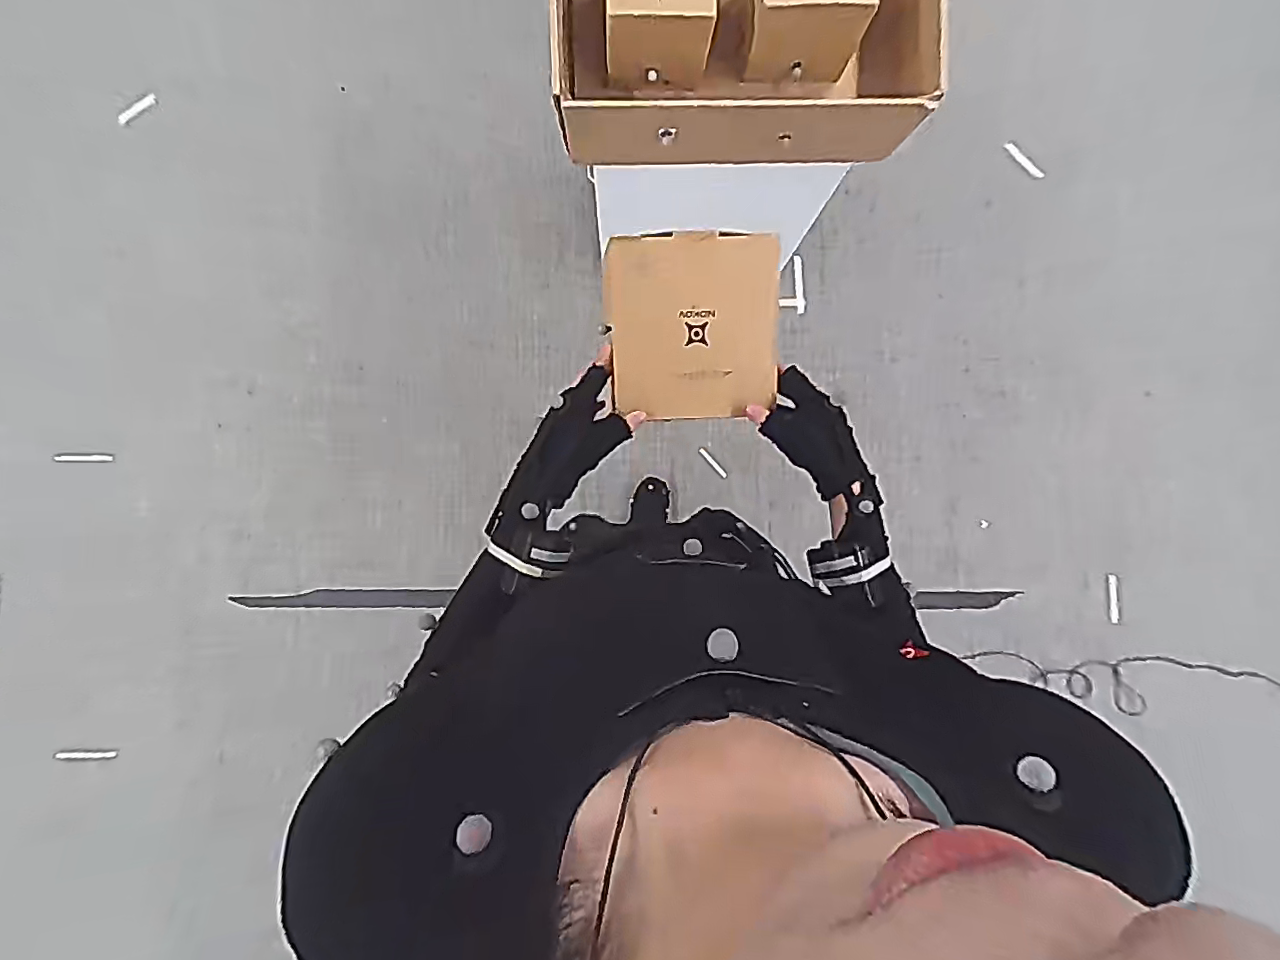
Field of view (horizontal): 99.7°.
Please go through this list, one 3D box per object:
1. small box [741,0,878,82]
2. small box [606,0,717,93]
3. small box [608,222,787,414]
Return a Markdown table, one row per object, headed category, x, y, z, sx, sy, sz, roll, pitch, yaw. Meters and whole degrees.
| category | x | y | z | sx | sy | sz | roll | pitch | yaw |
| --- | --- | --- | --- | --- | --- | --- | --- | --- | --- |
| small box | 0.269 | -0.791 | 0.885 | 0.179 | 0.176 | 0.168 | -1 | 92 | 0 |
| small box | 0.028 | -0.776 | 0.878 | 0.168 | 0.176 | 0.179 | -1 | 93 | -2 |
| small box | 0.053 | -0.172 | 0.598 | 0.168 | 0.176 | 0.179 | -3 | 105 | -5 |
